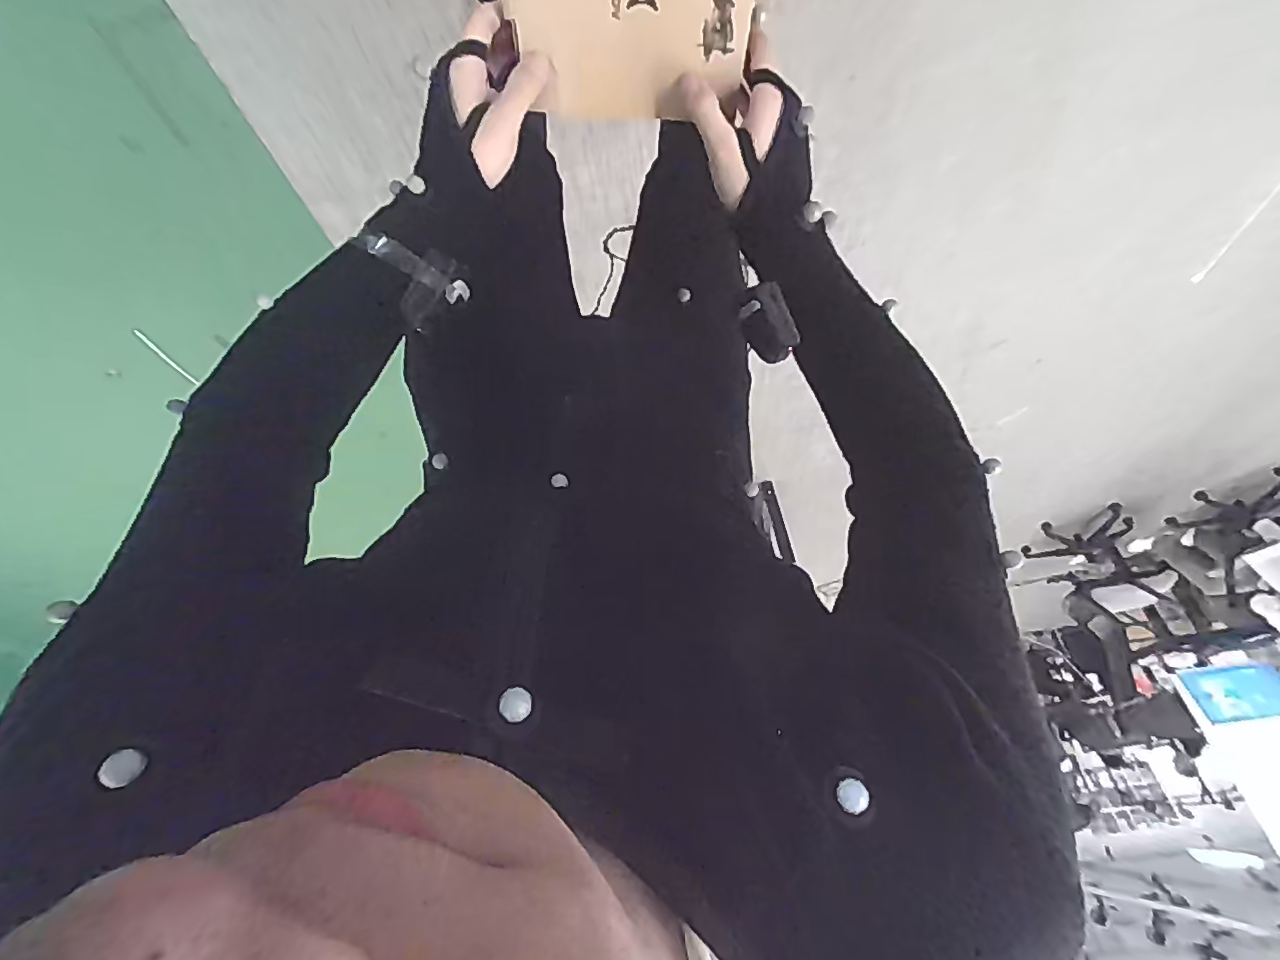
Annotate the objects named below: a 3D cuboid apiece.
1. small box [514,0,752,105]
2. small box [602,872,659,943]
[{"bbox_3d":[0.001,-0.425,0.418,0.179,0.176,0.168,4,148,0],"label":"small box"},{"bbox_3d":[-0.033,1.505,1.915,0.179,0.176,0.168,-8,149,1],"label":"small box"}]
